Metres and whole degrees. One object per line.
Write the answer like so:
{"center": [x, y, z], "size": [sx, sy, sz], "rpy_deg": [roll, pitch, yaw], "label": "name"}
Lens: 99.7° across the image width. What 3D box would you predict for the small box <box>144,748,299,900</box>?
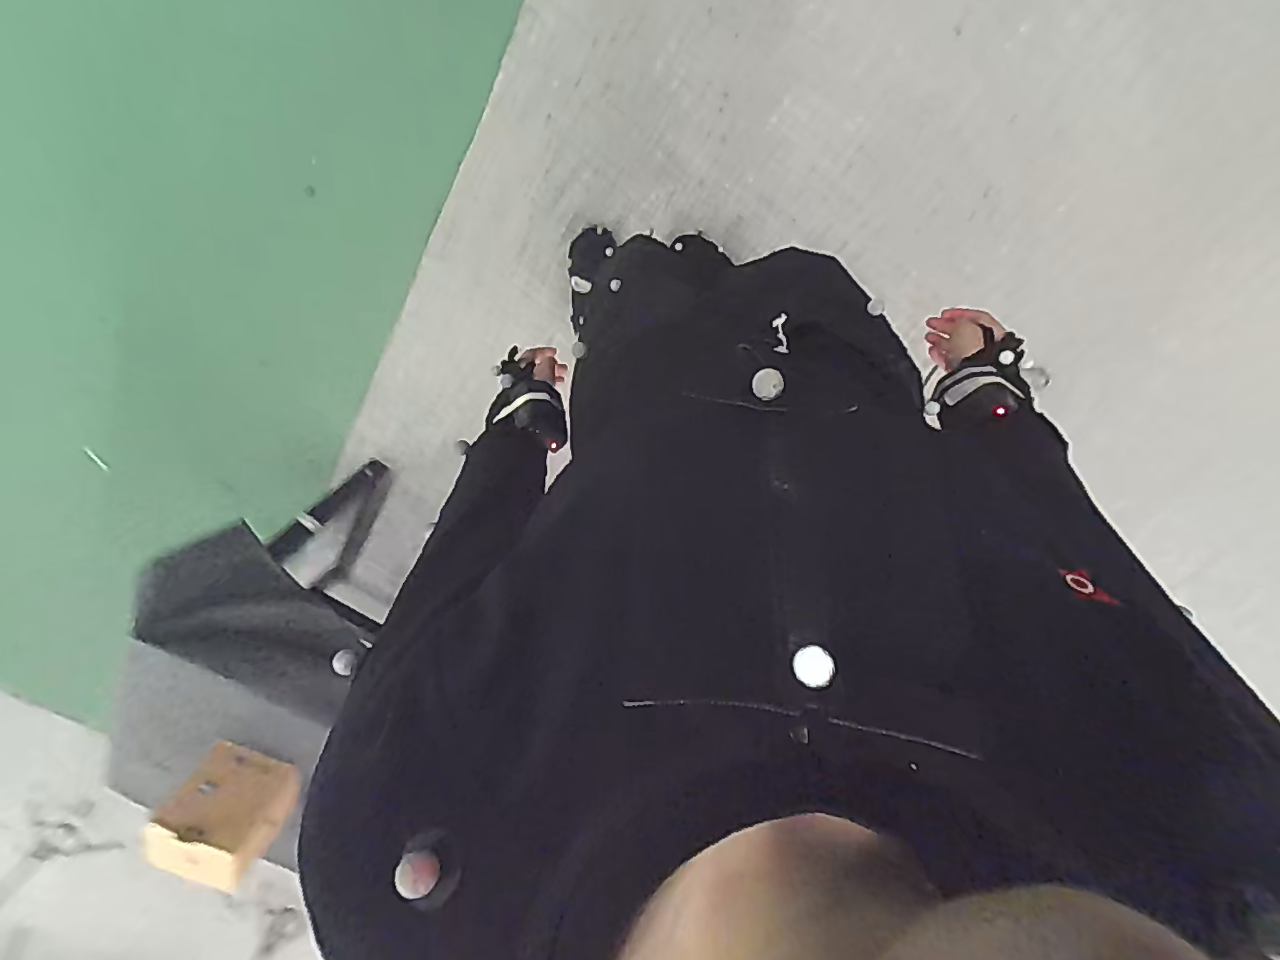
{"center": [-0.786, 0.650, 1.033], "size": [0.168, 0.176, 0.179], "rpy_deg": [24, 121, -3], "label": "small box"}
